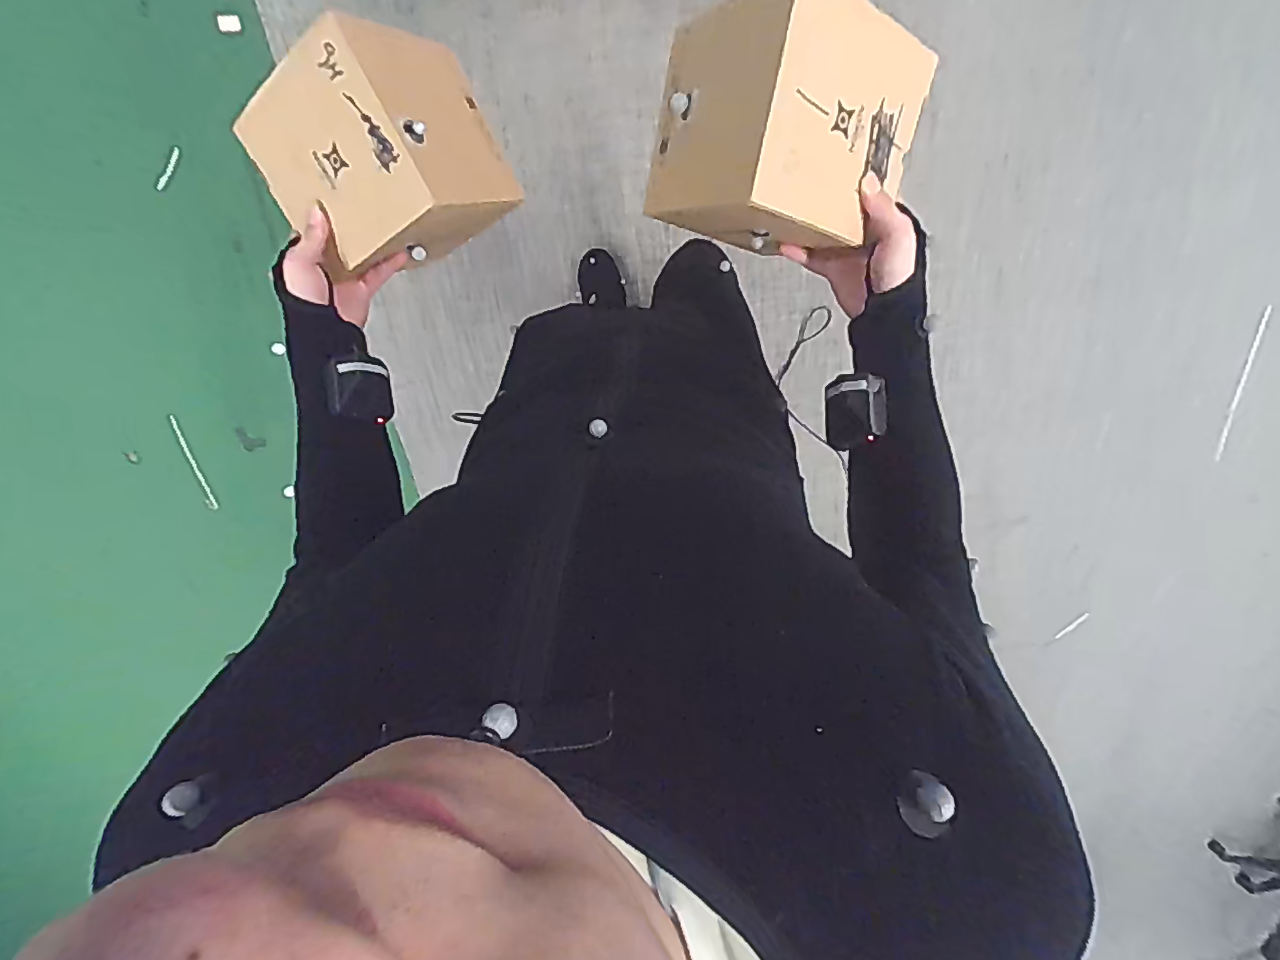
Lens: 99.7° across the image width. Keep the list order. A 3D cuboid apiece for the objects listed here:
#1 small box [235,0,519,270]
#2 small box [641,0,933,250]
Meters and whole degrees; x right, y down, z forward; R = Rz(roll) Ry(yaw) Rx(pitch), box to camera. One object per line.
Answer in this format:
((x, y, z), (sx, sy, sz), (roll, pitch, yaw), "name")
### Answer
((-0.265, -0.345, 0.576), (0.179, 0.176, 0.168), (-16, 109, 29), "small box")
((0.126, -0.324, 0.508), (0.179, 0.176, 0.168), (2, 108, -32), "small box")
